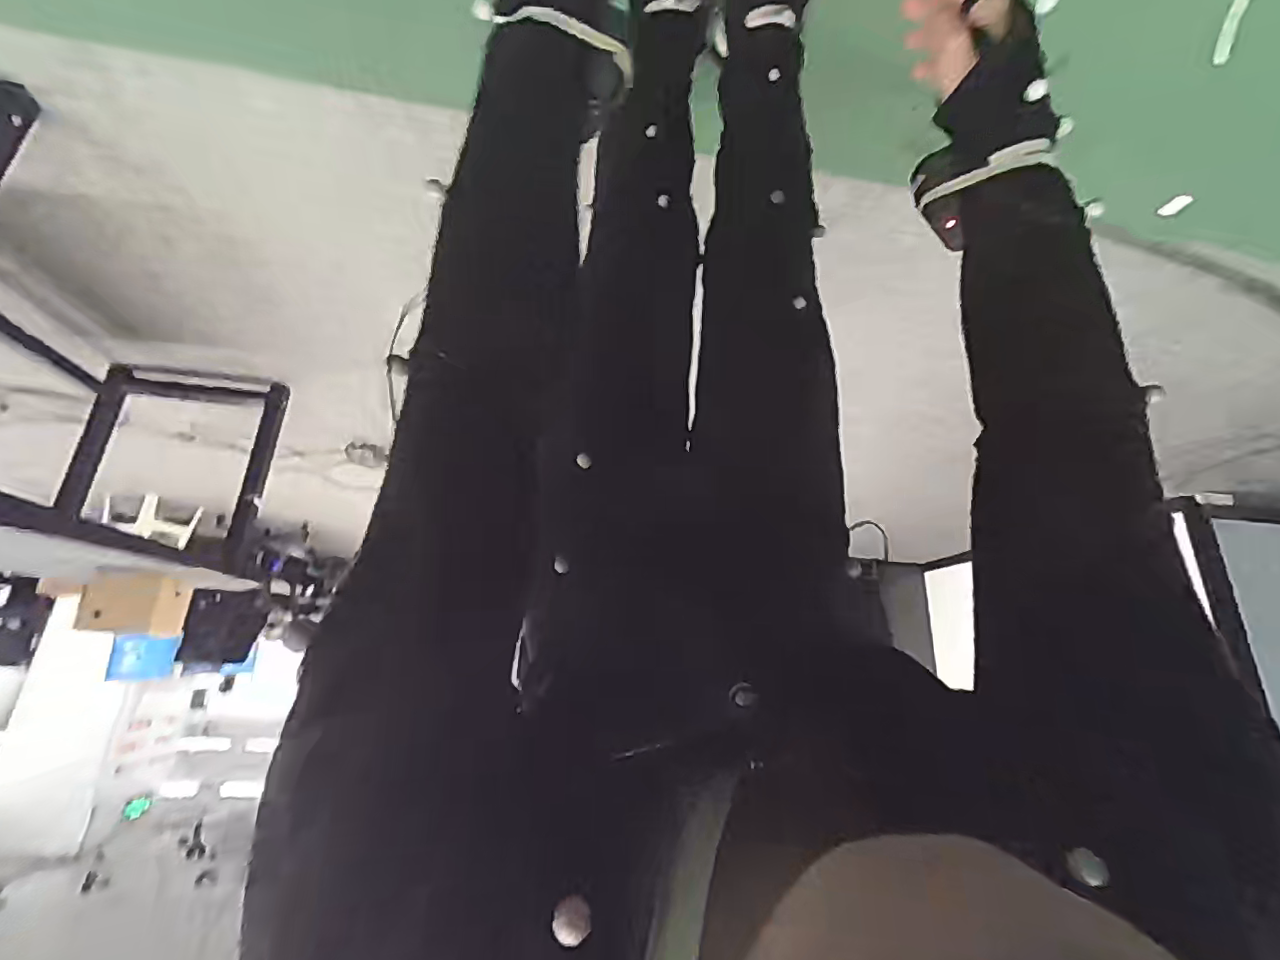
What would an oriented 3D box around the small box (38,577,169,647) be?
[{"bbox_3d":[-1.454,0.361,1.479,0.179,0.176,0.168,7,161,-13],"label":"small box"}]
